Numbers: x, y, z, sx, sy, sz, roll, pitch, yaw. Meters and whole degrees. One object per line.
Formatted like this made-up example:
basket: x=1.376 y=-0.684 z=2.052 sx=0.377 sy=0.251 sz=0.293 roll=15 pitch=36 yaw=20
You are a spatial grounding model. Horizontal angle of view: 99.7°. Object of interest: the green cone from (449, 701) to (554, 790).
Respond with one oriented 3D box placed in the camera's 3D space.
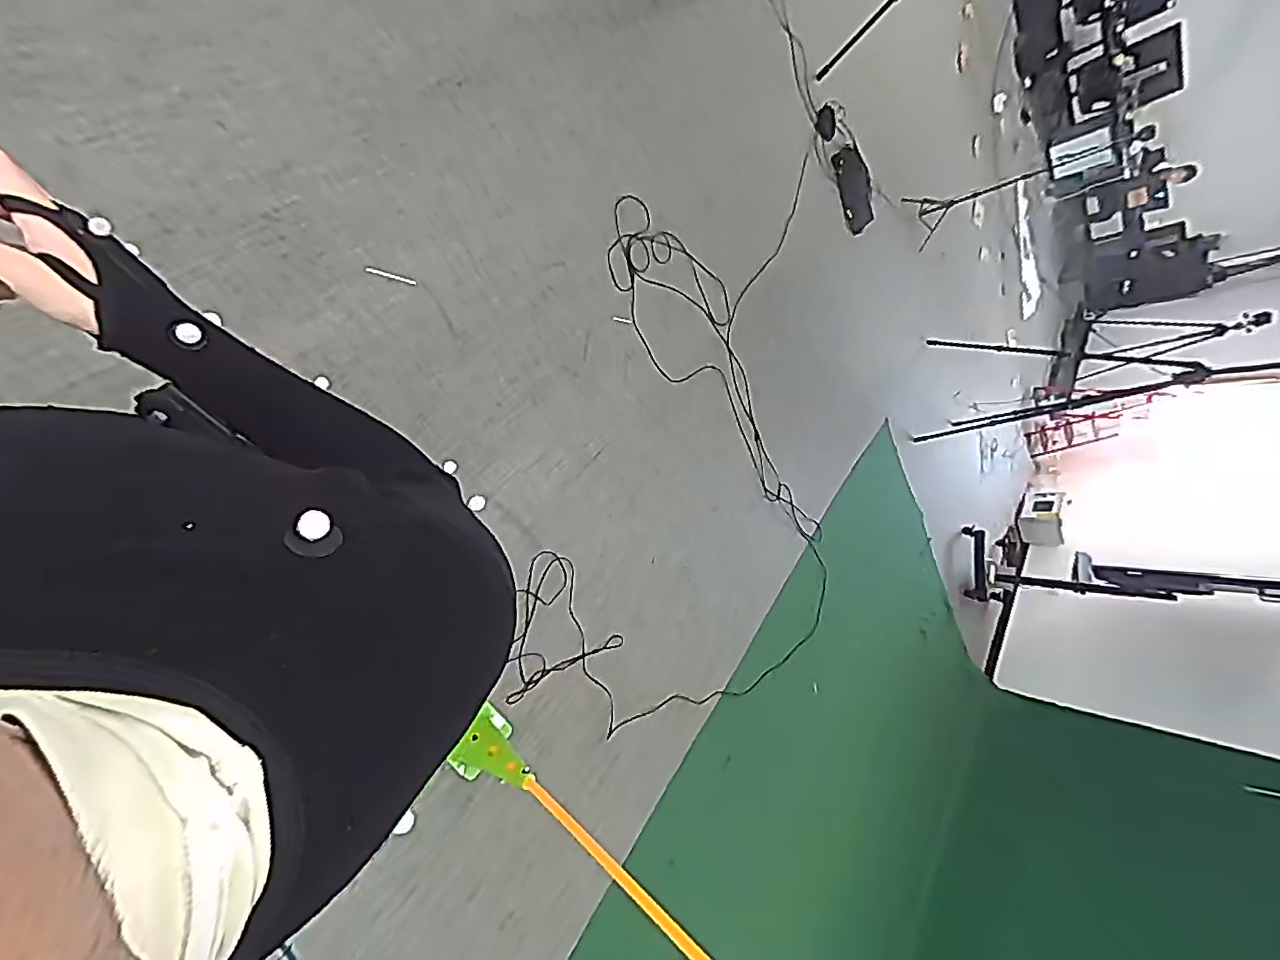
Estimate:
green cone: x=-0.376 y=0.844 z=1.618 sx=0.202 sy=0.368 sz=0.200 roll=-49 pitch=120 yaw=-32
